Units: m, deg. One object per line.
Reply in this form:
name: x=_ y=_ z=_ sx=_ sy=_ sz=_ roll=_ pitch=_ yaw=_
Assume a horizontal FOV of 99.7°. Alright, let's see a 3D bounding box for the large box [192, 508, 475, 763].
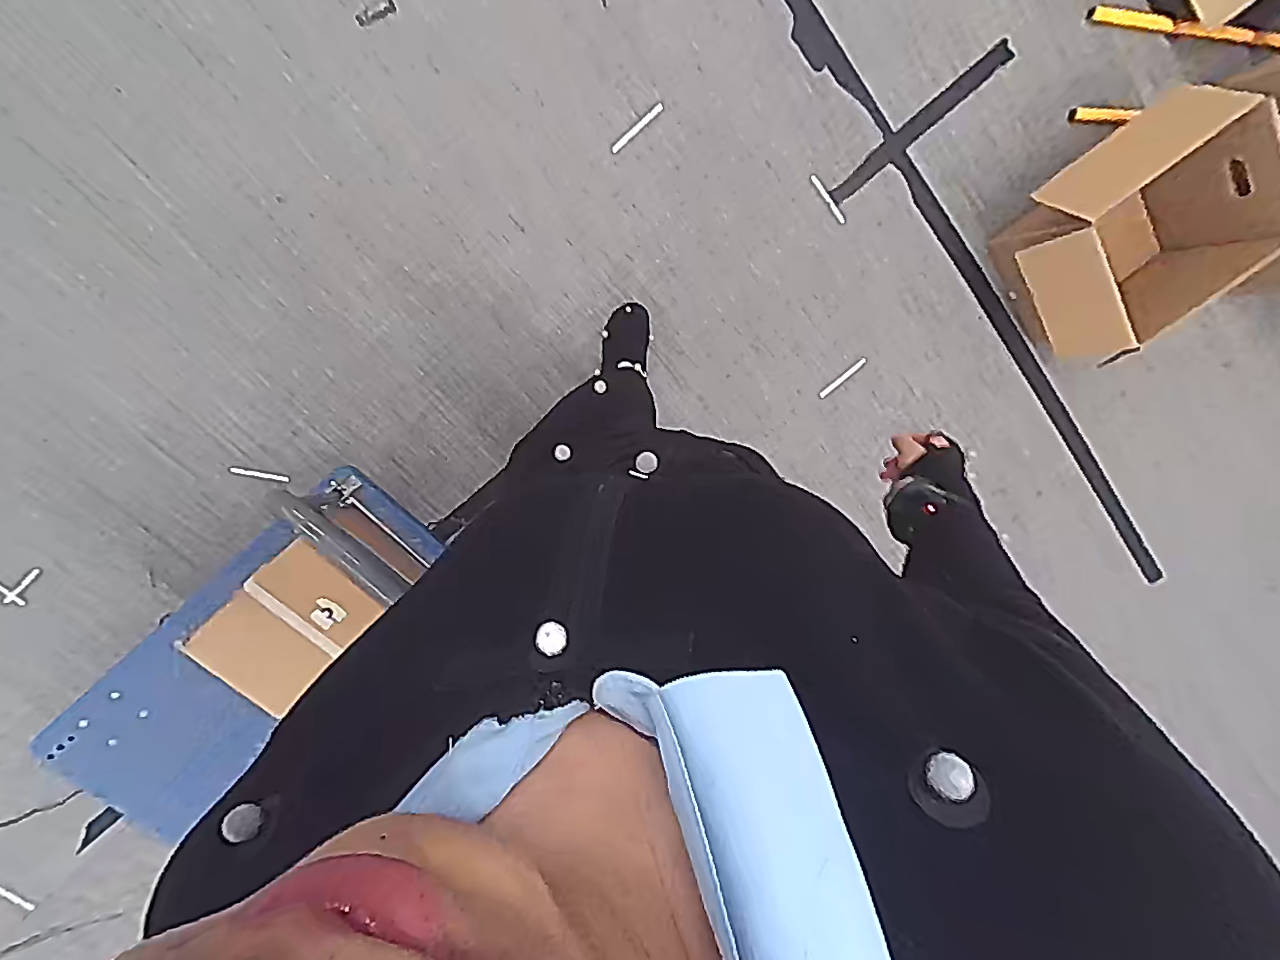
large box: x=-0.618 y=0.315 z=1.190 sx=0.320 sy=0.320 sz=0.408 roll=-47 pitch=104 yaw=-11
